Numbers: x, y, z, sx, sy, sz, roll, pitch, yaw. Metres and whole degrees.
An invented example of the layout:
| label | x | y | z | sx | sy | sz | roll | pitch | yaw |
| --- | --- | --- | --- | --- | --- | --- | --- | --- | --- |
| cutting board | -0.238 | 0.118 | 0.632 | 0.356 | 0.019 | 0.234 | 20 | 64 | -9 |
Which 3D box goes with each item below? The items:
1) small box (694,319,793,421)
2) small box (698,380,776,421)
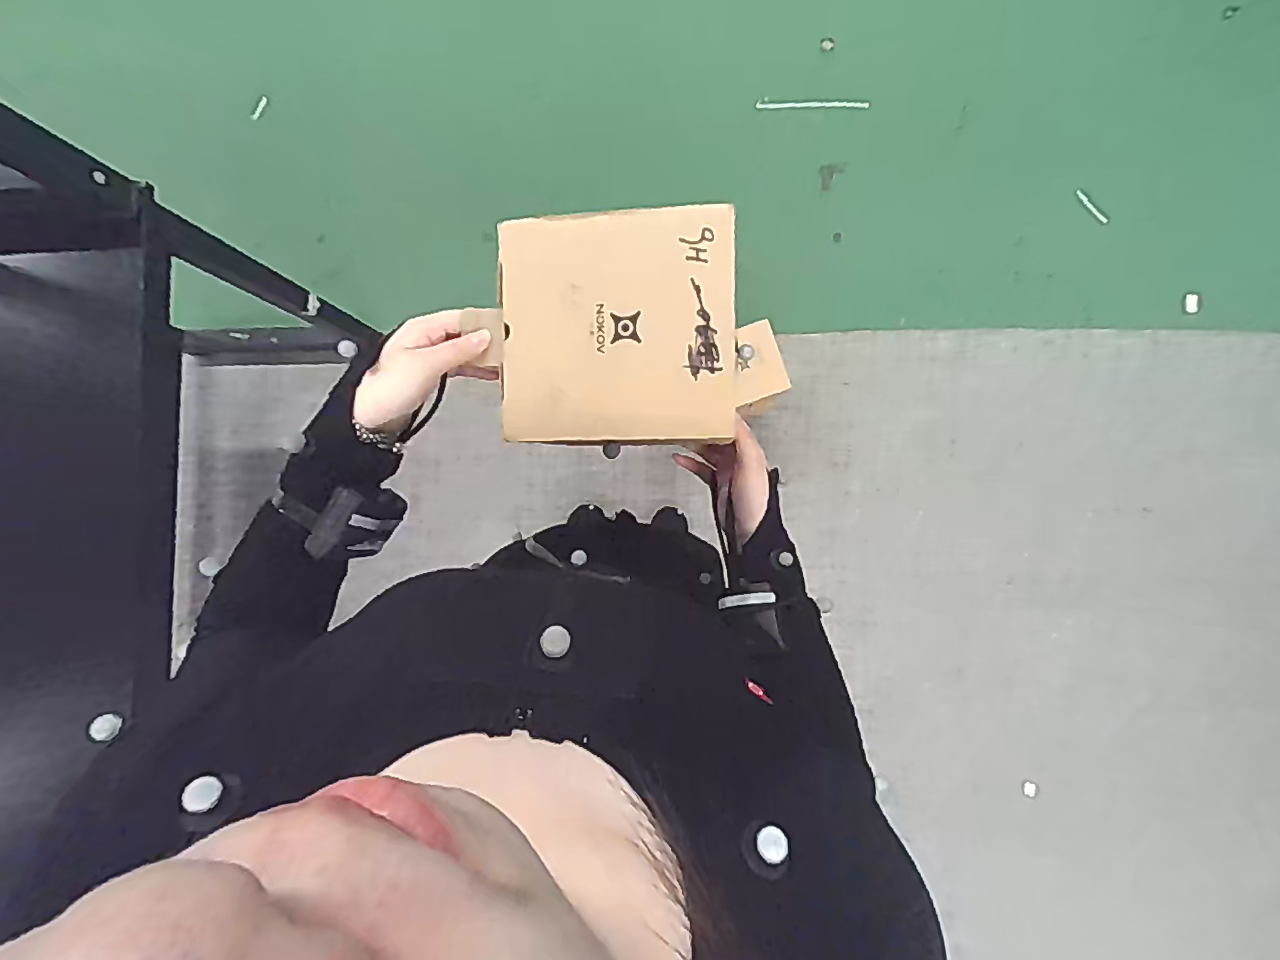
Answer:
| label | x | y | z | sx | sy | sz | roll | pitch | yaw |
| --- | --- | --- | --- | --- | --- | --- | --- | --- | --- |
| small box | 0.230 | -0.246 | 1.256 | 0.179 | 0.176 | 0.168 | -20 | 90 | 1 |
| small box | 0.245 | -0.252 | 1.418 | 0.179 | 0.176 | 0.168 | -7 | 89 | 2 |
